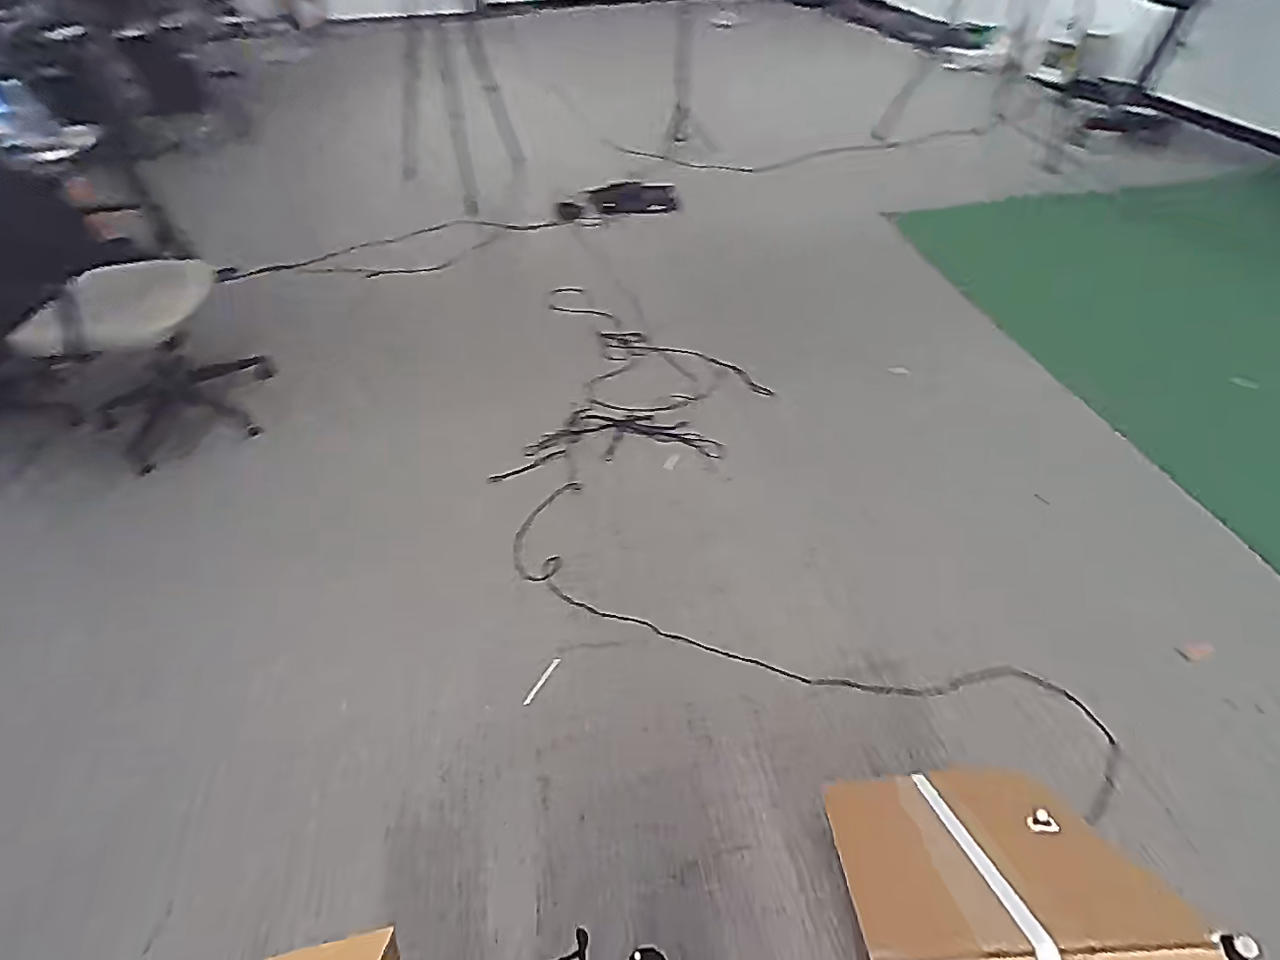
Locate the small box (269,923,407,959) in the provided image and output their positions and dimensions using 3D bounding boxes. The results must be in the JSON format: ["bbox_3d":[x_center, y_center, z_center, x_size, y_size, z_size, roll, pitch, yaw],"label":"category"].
[{"bbox_3d":[-0.375,0.677,0.624,0.168,0.179,0.176,-10,89,-5],"label":"small box"}]
